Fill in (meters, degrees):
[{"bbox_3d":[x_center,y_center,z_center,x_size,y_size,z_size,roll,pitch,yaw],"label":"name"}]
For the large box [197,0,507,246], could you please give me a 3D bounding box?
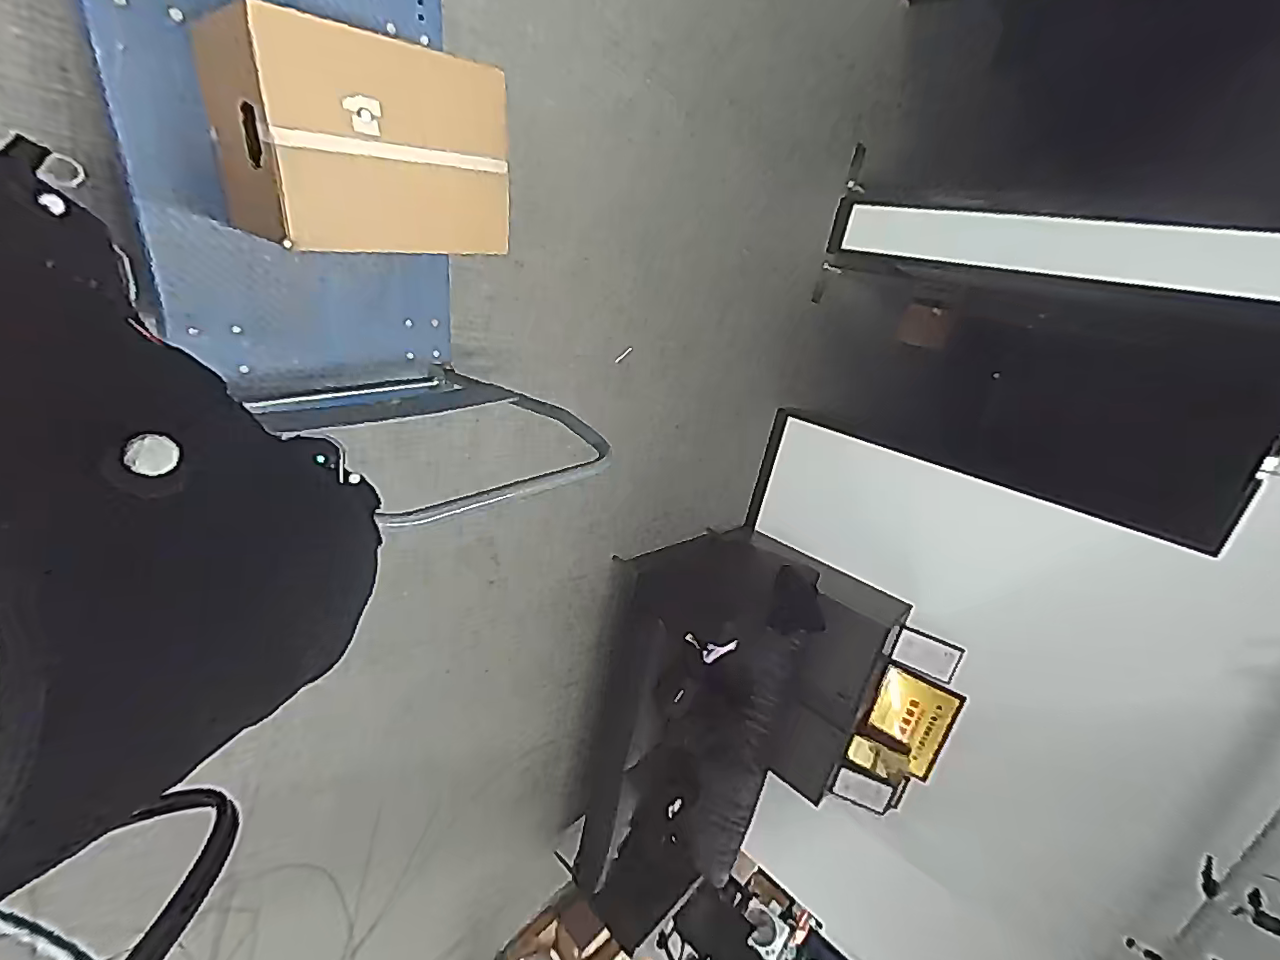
[{"bbox_3d":[-0.503,-0.623,1.002,0.408,0.320,0.320,-22,128,-42],"label":"large box"}]
